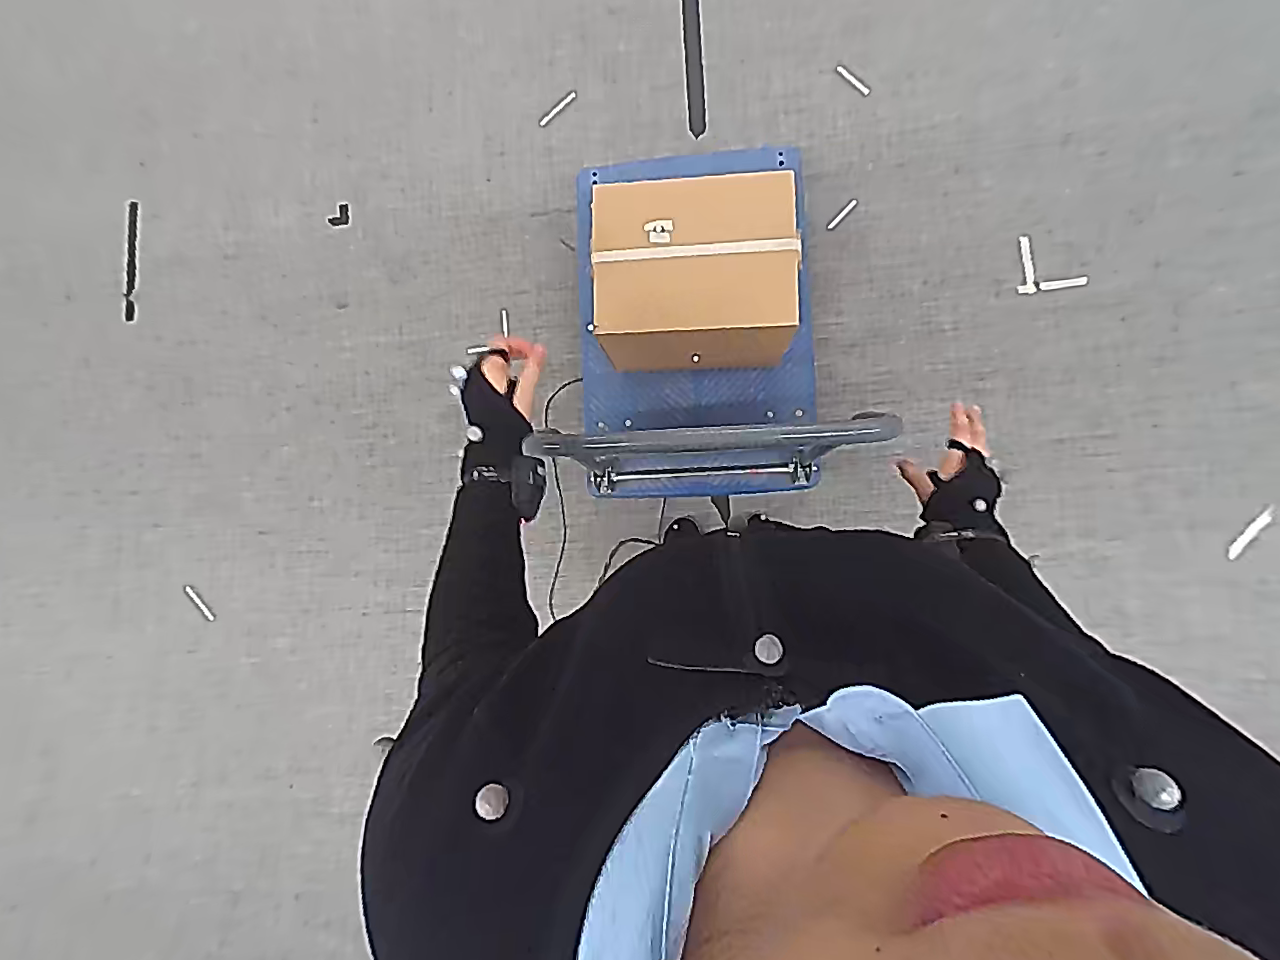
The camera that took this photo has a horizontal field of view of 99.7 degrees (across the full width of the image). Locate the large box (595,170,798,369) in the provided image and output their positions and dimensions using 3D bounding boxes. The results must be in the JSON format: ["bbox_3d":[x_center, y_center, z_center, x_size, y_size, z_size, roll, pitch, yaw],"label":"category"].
[{"bbox_3d":[0.127,-0.448,1.231,0.408,0.320,0.320,-1,86,7],"label":"large box"}]
